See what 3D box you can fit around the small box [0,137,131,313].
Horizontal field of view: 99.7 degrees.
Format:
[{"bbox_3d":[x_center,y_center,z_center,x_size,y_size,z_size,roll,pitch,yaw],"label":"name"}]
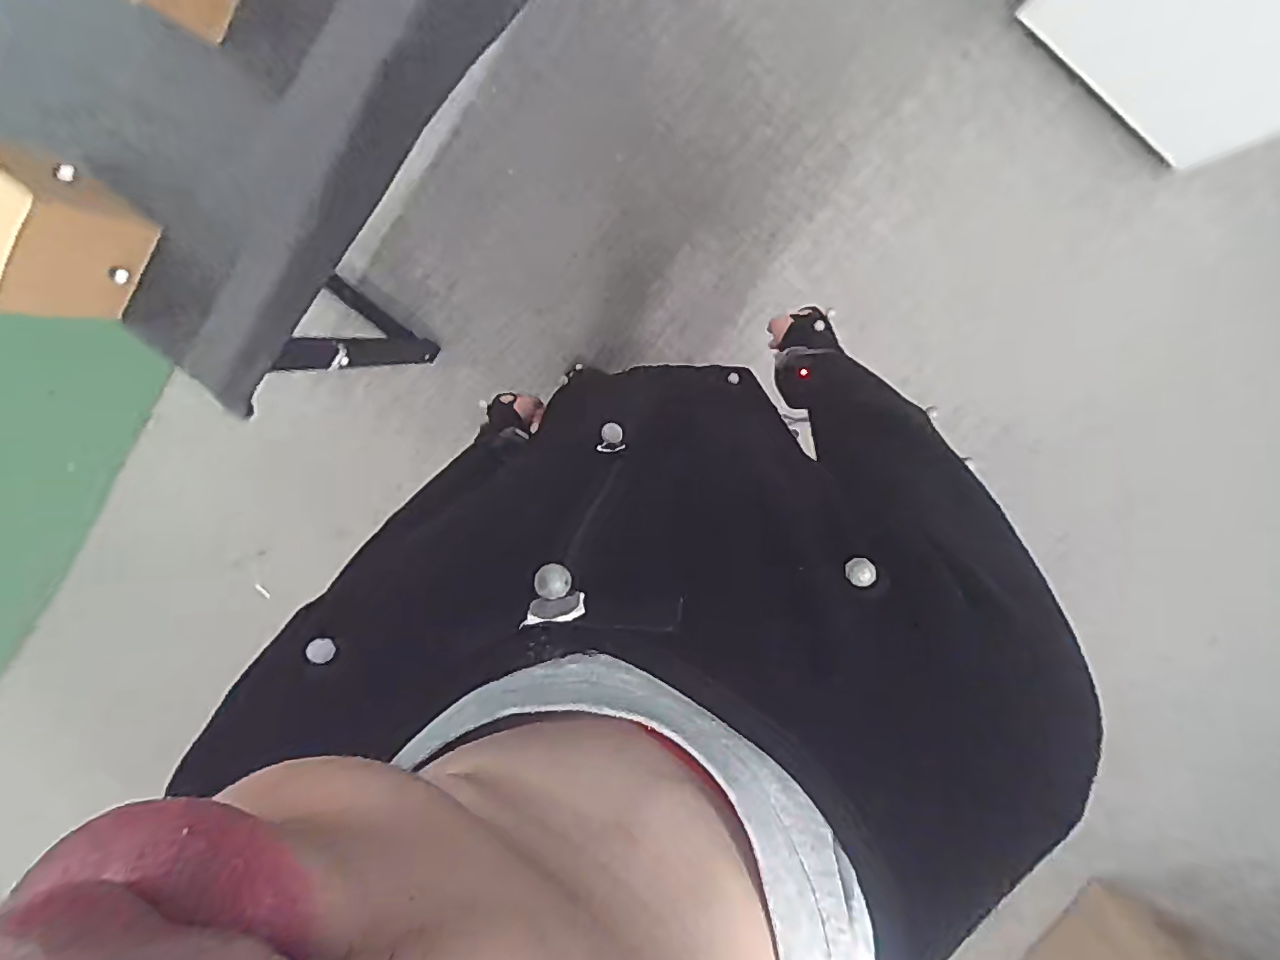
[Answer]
[{"bbox_3d":[-0.859,-0.350,0.732,0.168,0.176,0.179,39,103,-3],"label":"small box"}]
